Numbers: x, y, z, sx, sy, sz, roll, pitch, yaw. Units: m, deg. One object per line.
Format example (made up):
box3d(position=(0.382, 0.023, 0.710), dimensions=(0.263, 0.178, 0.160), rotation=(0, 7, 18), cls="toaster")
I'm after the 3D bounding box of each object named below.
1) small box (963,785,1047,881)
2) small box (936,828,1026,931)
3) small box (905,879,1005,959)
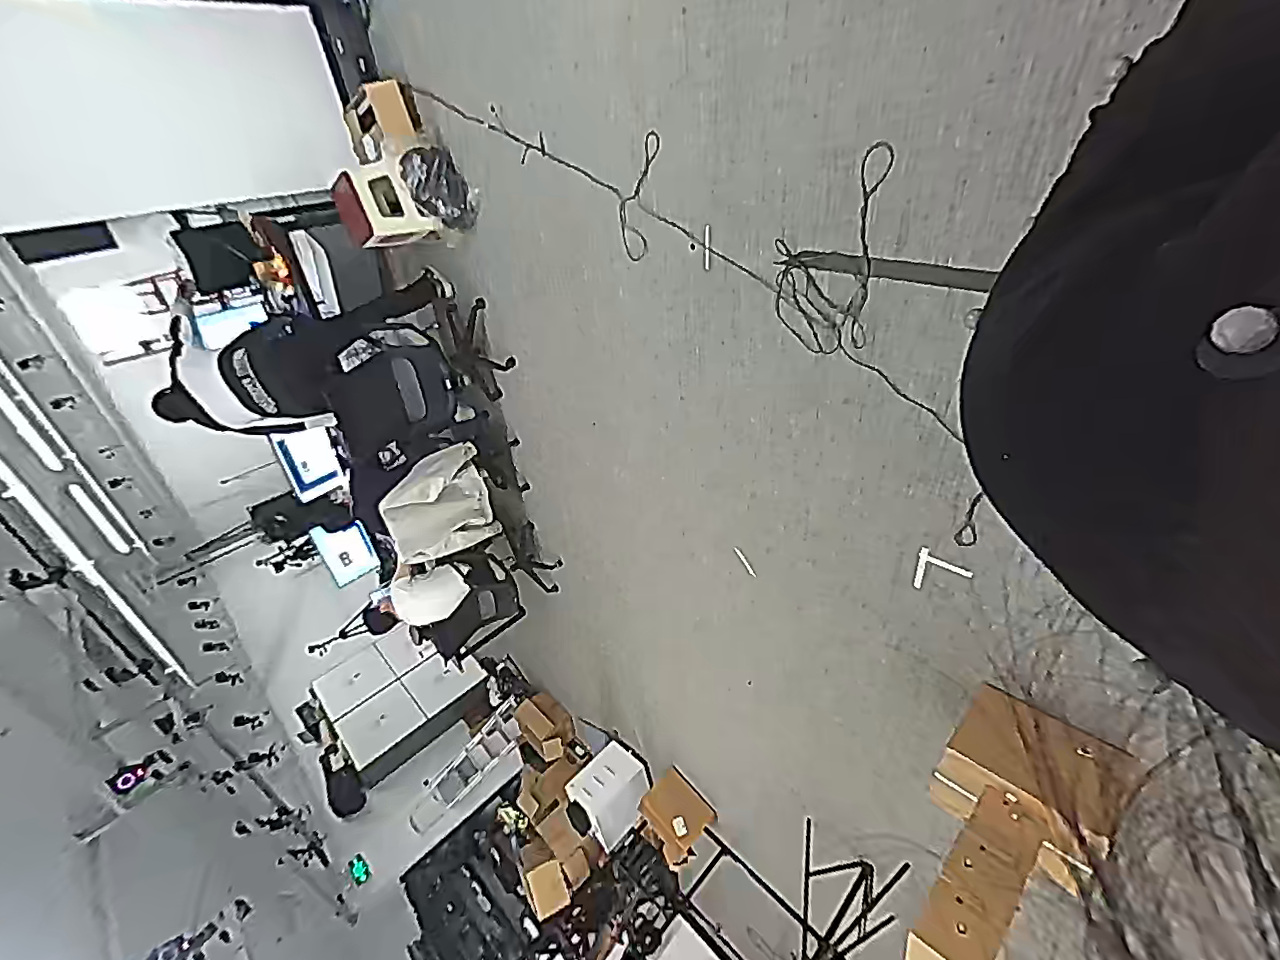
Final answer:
box3d(position=(1.024, 1.023, 1.540), dimensions=(0.168, 0.176, 0.179), rotation=(24, 133, 40), cls="small box")
box3d(position=(0.905, 1.088, 1.450), dimensions=(0.168, 0.176, 0.179), rotation=(24, 134, 42), cls="small box")
box3d(position=(0.792, 1.165, 1.358), dimensions=(0.168, 0.176, 0.179), rotation=(20, 130, 45), cls="small box")
